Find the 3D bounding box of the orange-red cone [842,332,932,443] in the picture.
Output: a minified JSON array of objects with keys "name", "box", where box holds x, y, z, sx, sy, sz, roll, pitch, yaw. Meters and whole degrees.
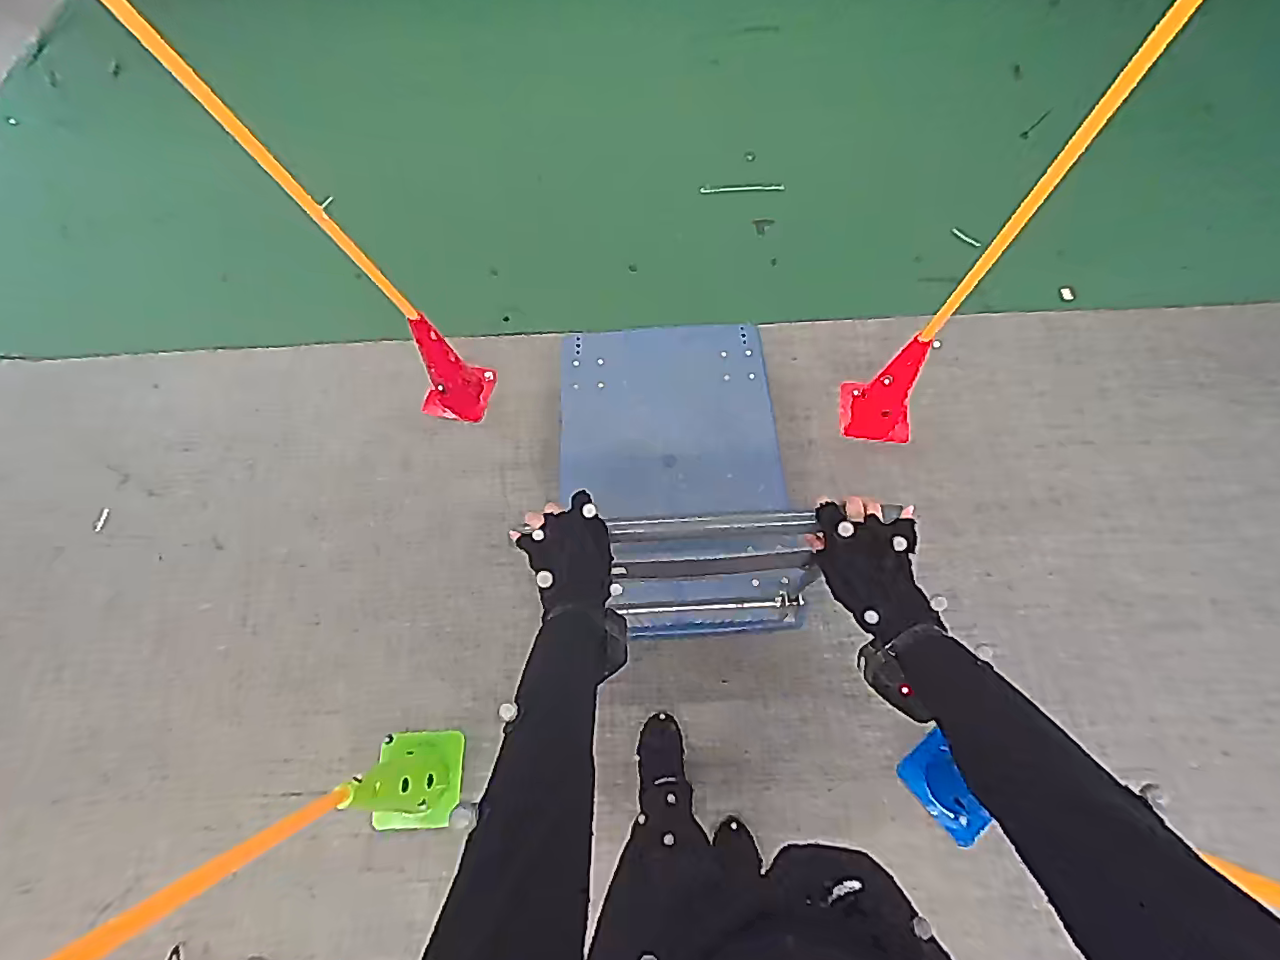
[{"name":"orange-red cone","box":[0.706,-0.274,1.477,0.198,0.360,0.199,8,67,7]}]
